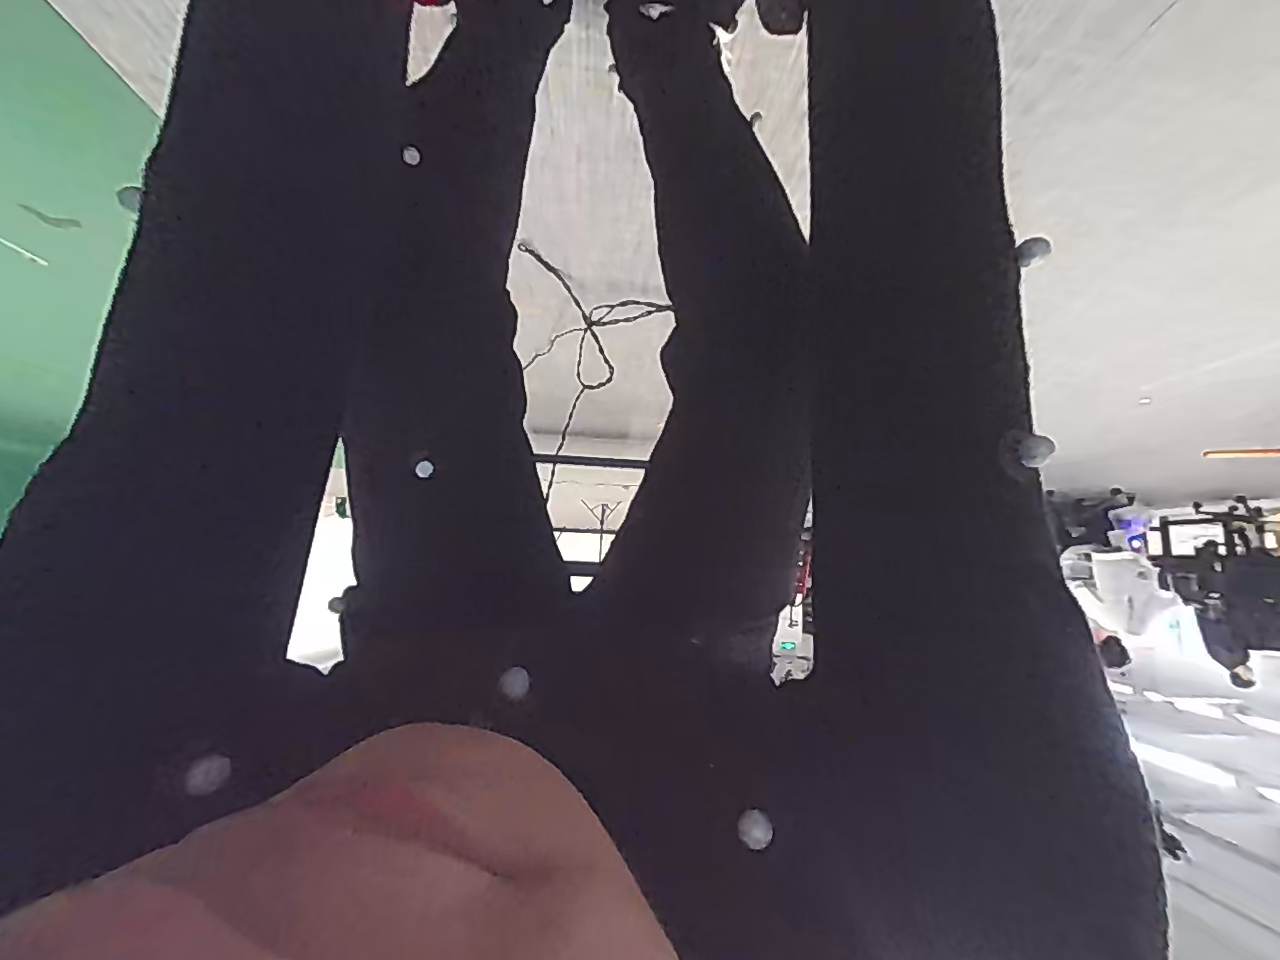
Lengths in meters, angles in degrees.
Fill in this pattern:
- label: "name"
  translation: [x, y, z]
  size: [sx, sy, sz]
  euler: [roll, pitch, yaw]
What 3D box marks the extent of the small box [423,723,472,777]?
- label: "small box"
  translation: [-0.835, 1.177, 2.366]
  size: [0.179, 0.176, 0.168]
  euler: [5, 173, -9]
